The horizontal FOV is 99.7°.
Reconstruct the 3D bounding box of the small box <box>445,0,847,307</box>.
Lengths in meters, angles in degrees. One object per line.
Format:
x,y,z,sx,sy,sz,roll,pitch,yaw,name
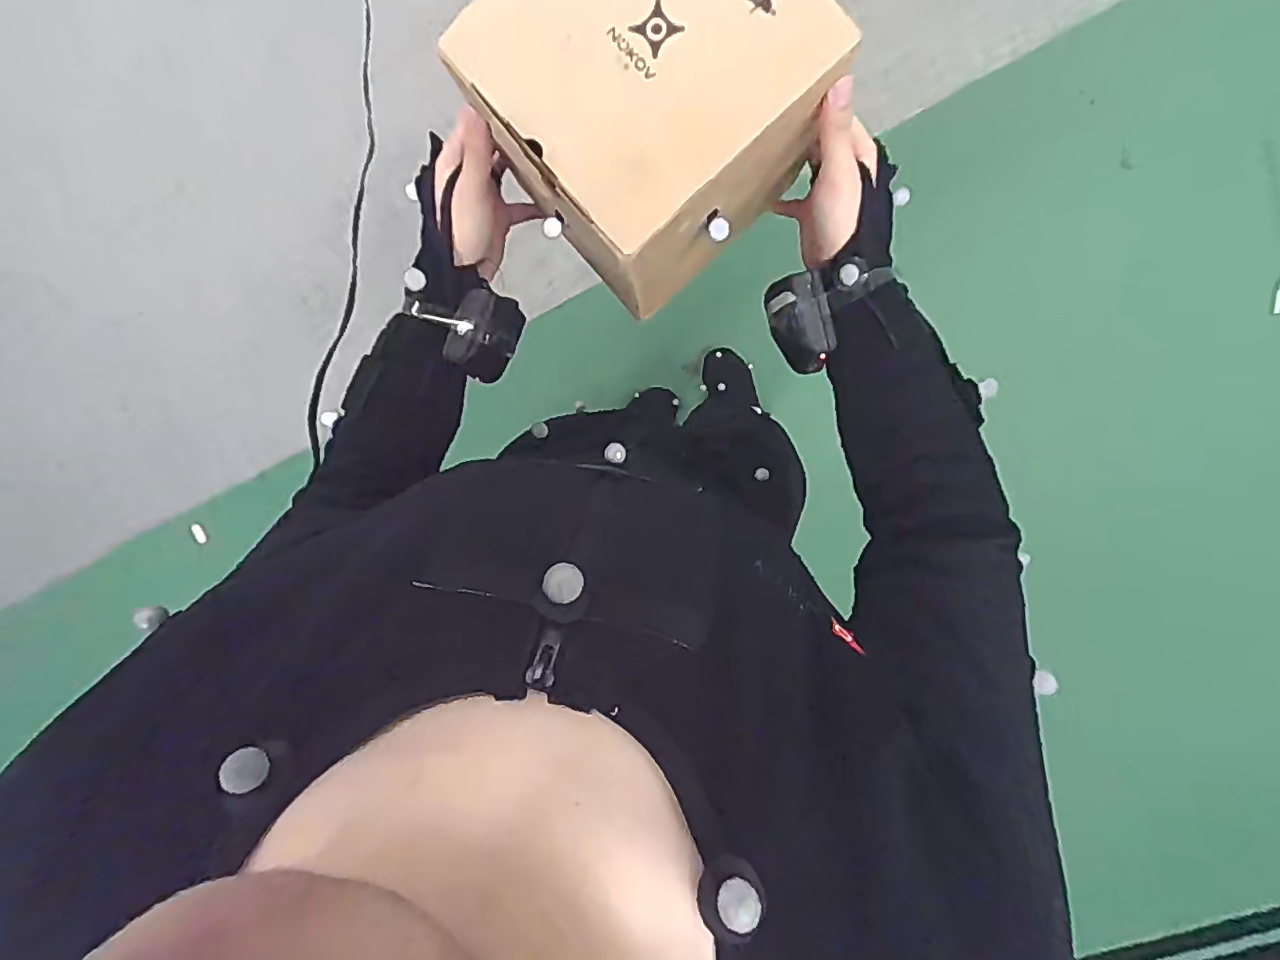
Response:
0.007,-0.252,0.386,0.179,0.176,0.168,-42,91,7,small box
